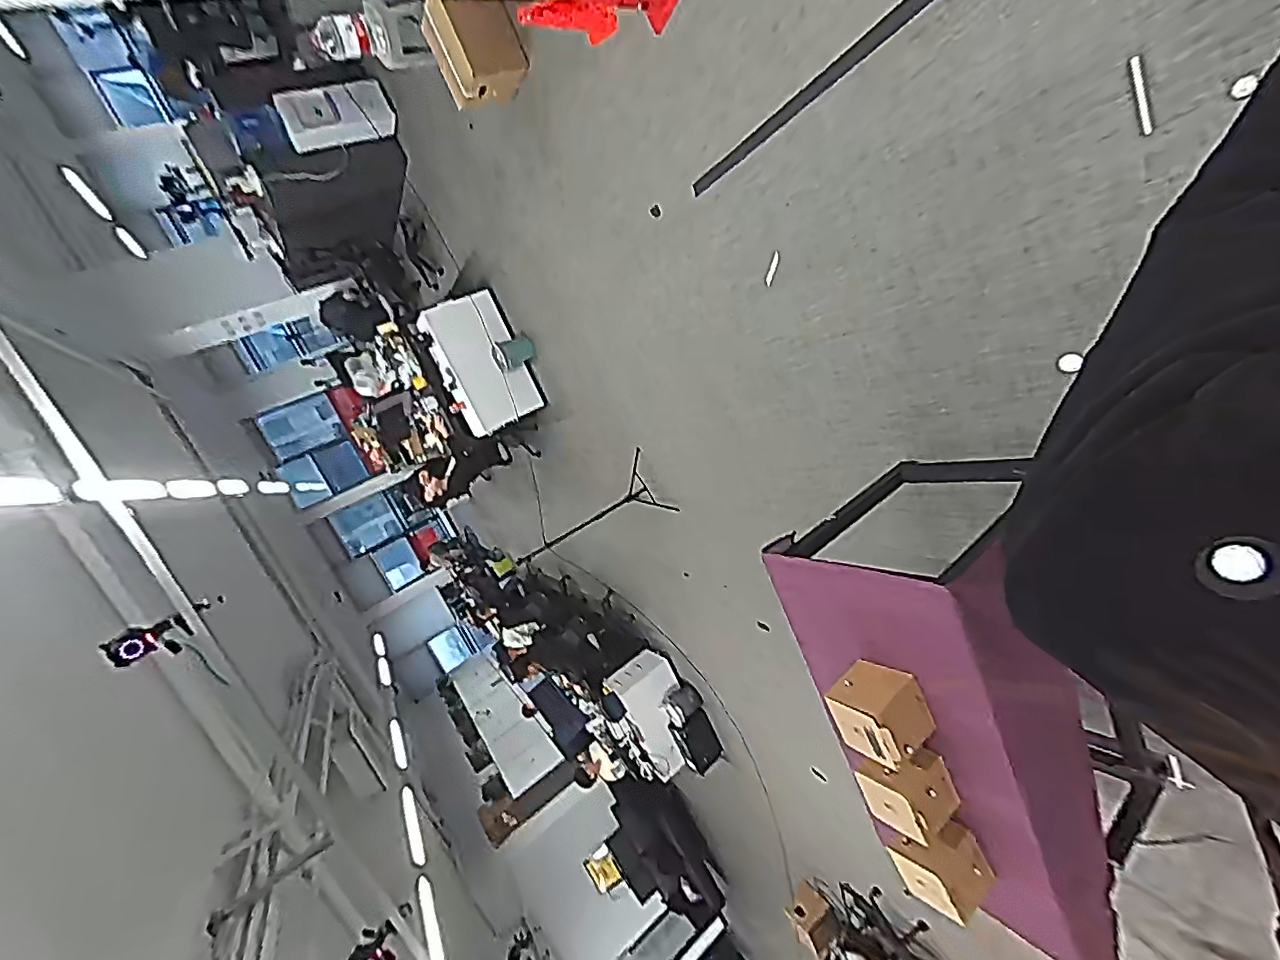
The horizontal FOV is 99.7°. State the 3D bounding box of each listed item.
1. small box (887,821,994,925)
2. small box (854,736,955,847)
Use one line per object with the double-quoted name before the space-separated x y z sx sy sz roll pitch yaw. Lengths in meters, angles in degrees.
"small box" 0.855 1.091 1.540 0.168 0.176 0.179 61 155 -4
"small box" 0.738 0.850 1.499 0.179 0.176 0.168 -5 112 63
